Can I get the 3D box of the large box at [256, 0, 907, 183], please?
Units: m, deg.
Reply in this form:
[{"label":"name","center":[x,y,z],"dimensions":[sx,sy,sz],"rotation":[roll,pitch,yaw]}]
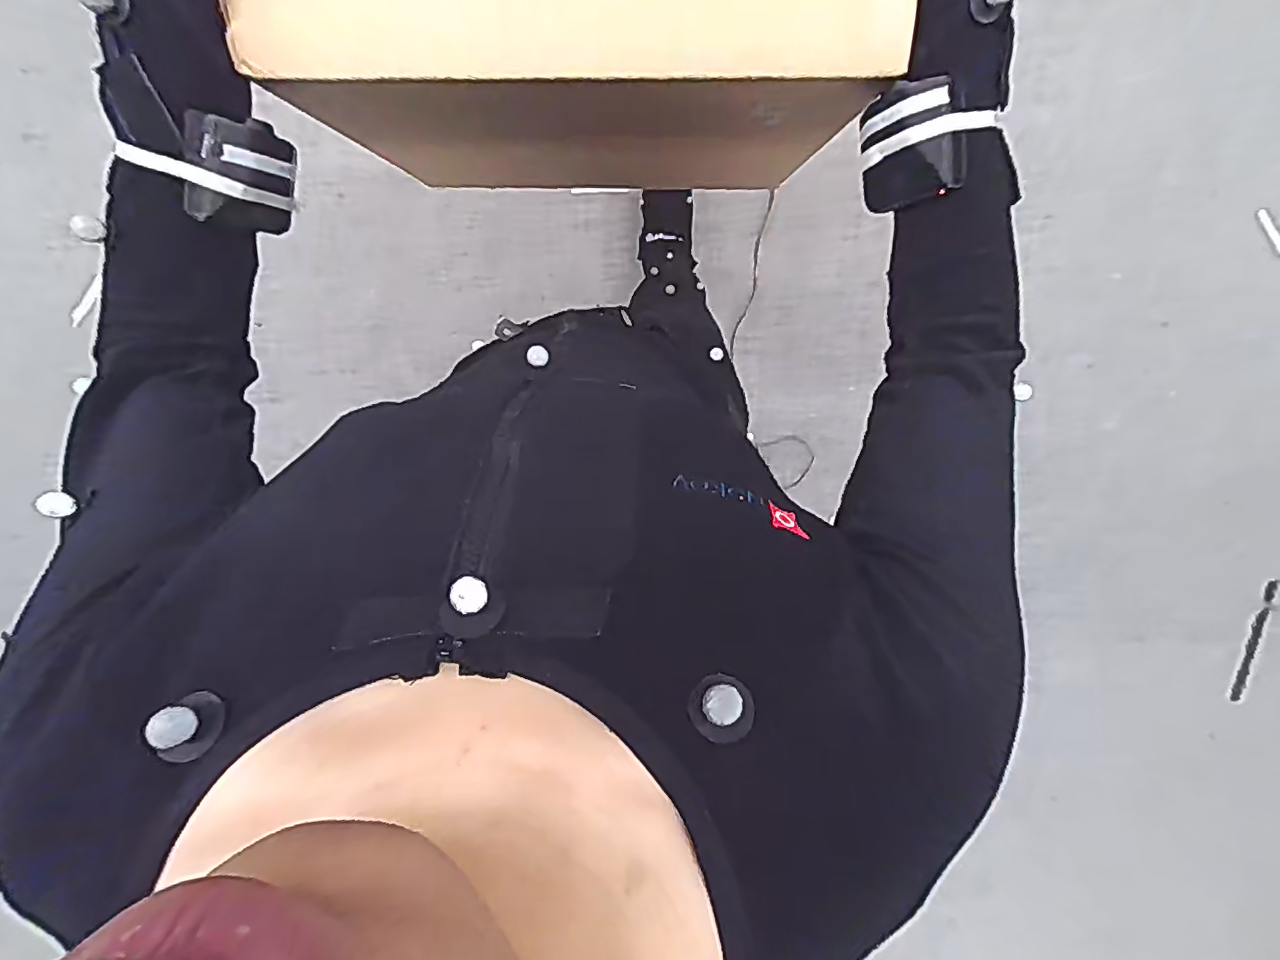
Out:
[{"label":"large box","center":[-0.040,-0.450,0.437],"dimensions":[0.408,0.320,0.320],"rotation":[-1,107,0]}]
